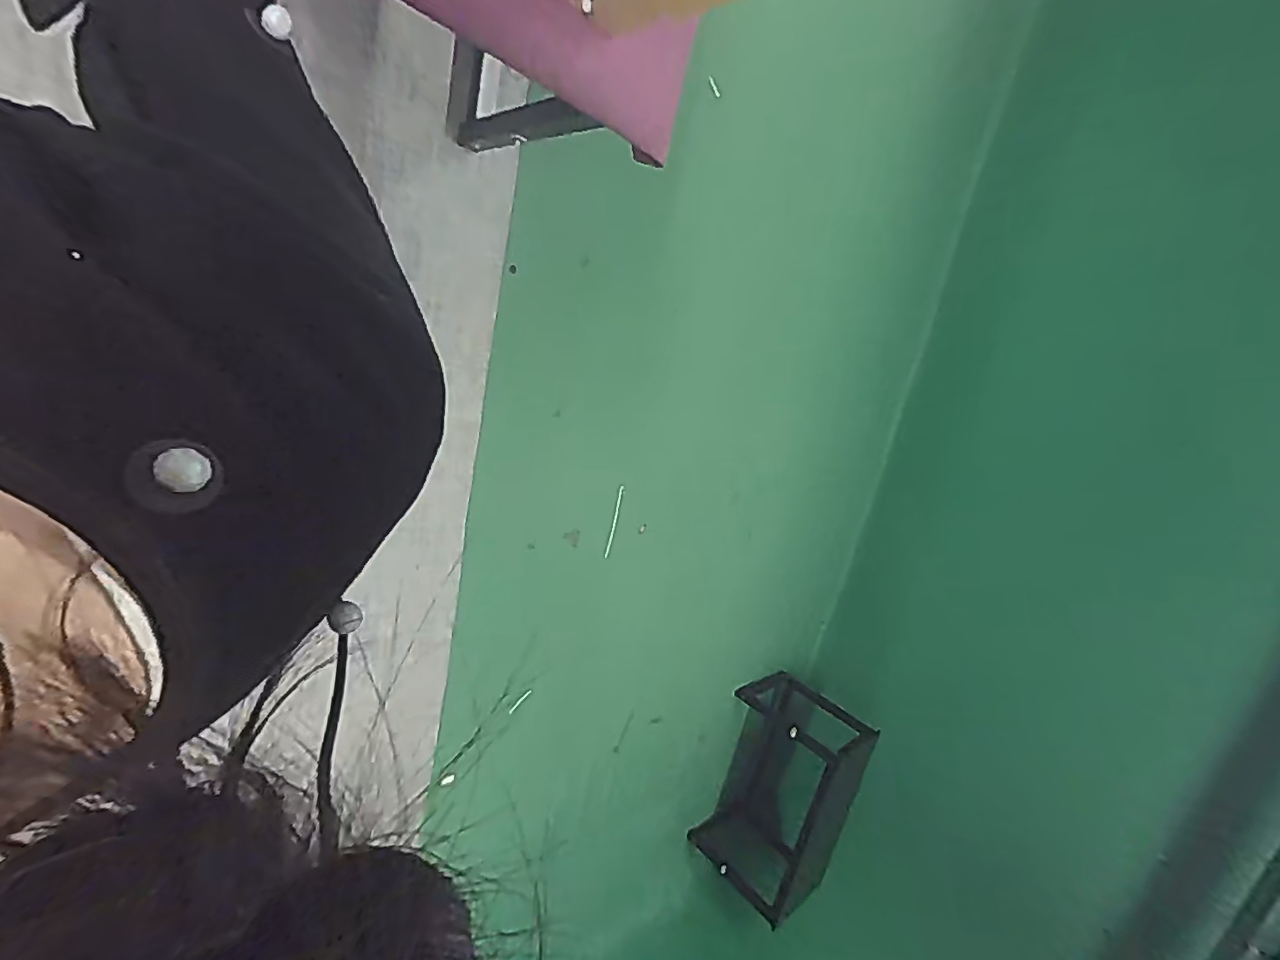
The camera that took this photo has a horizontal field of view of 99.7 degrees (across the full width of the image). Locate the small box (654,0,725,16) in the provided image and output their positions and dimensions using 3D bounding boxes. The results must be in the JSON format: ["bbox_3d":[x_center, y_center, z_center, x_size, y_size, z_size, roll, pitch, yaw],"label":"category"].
[{"bbox_3d":[0.069,-0.646,0.561,0.168,0.176,0.179,10,101,-45],"label":"small box"}]
